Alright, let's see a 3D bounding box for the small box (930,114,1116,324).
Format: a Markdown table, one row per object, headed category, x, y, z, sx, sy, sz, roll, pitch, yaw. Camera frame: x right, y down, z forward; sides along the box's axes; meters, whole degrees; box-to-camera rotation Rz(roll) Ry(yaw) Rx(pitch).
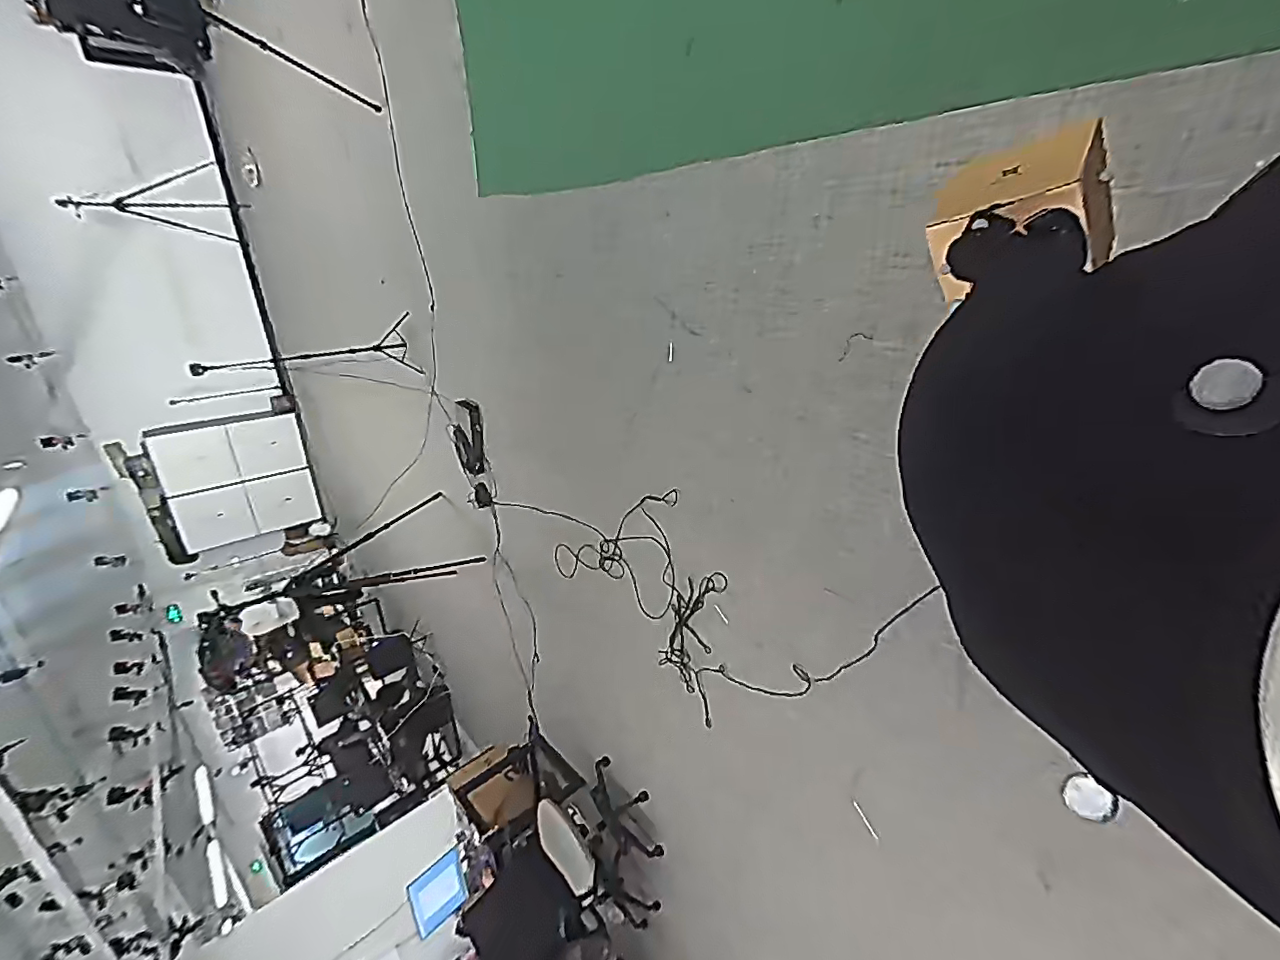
| category | x | y | z | sx | sy | sz | roll | pitch | yaw |
| --- | --- | --- | --- | --- | --- | --- | --- | --- | --- |
| small box | 0.526 | -0.342 | 0.737 | 0.168 | 0.179 | 0.176 | 0 | 138 | 49 |
